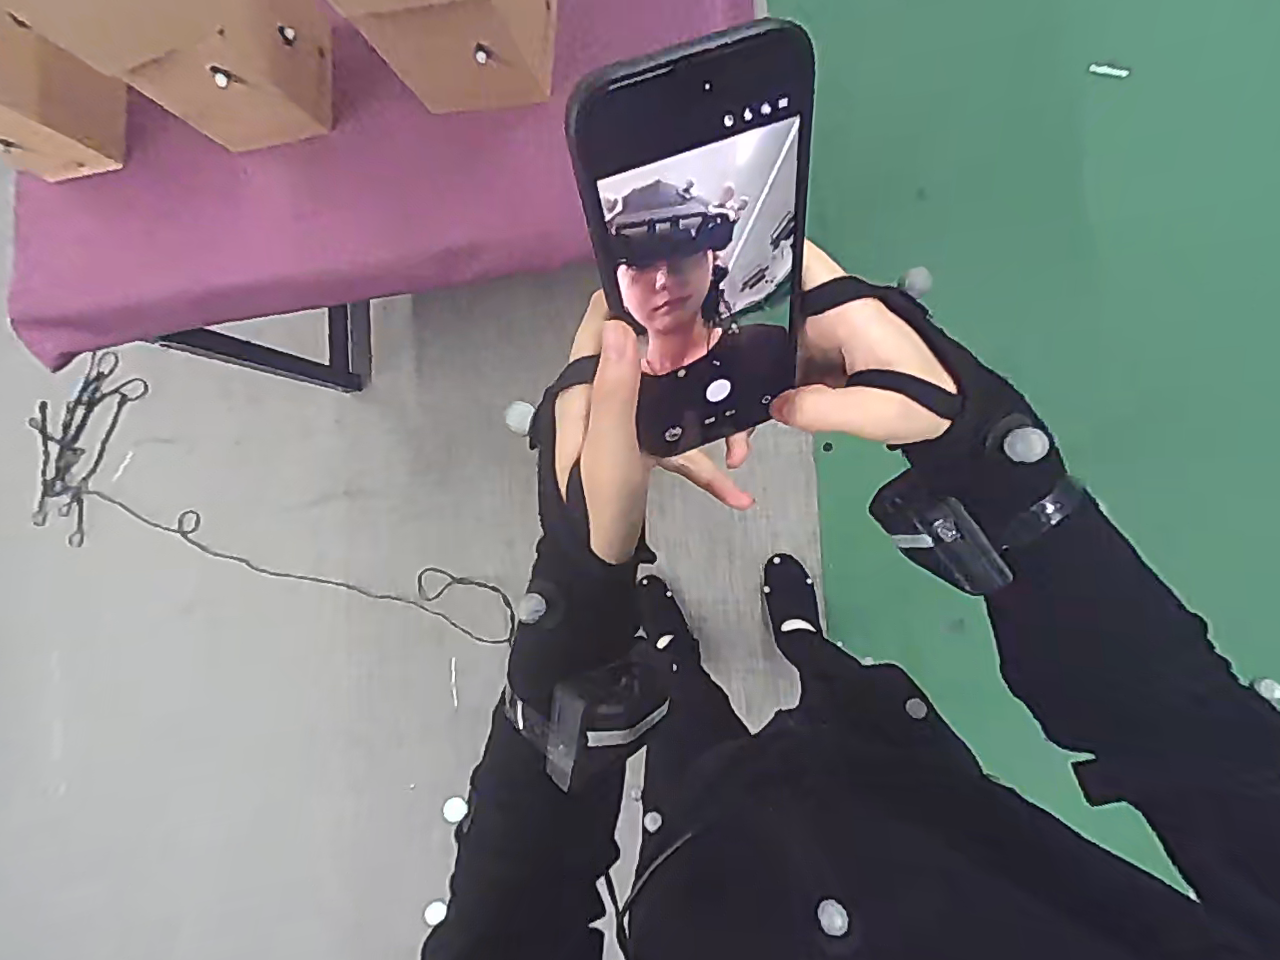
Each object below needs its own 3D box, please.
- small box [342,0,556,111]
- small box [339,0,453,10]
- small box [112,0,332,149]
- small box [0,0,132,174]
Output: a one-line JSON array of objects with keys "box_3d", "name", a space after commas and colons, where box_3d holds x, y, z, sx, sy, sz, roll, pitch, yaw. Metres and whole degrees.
[{"box_3d": [-0.212, -0.577, 0.641, 0.179, 0.176, 0.168, 5, 88, 14], "name": "small box"}, {"box_3d": [-0.242, -0.570, 0.480, 0.179, 0.176, 0.168, 4, 88, 13], "name": "small box"}, {"box_3d": [-0.543, -0.582, 0.722, 0.179, 0.176, 0.168, -2, 87, 14], "name": "small box"}, {"box_3d": [-0.922, -0.592, 0.817, 0.168, 0.176, 0.179, -1, 87, 14], "name": "small box"}]
